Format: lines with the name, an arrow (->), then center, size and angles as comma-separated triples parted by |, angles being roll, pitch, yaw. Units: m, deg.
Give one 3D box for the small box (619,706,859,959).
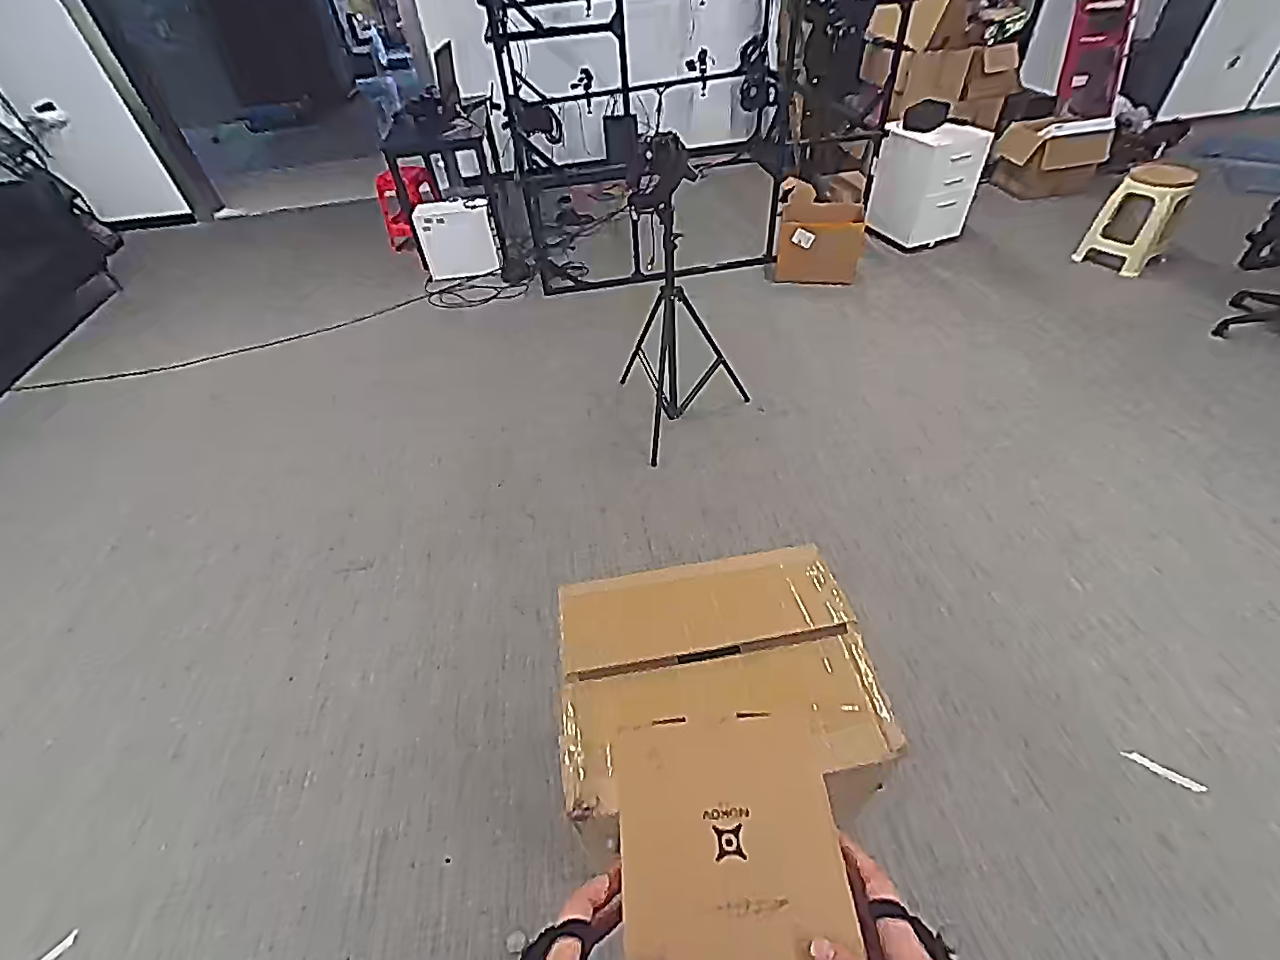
small box -> 0.068, 0.320, 0.481 | 0.168, 0.176, 0.179 | -4, 50, 0
